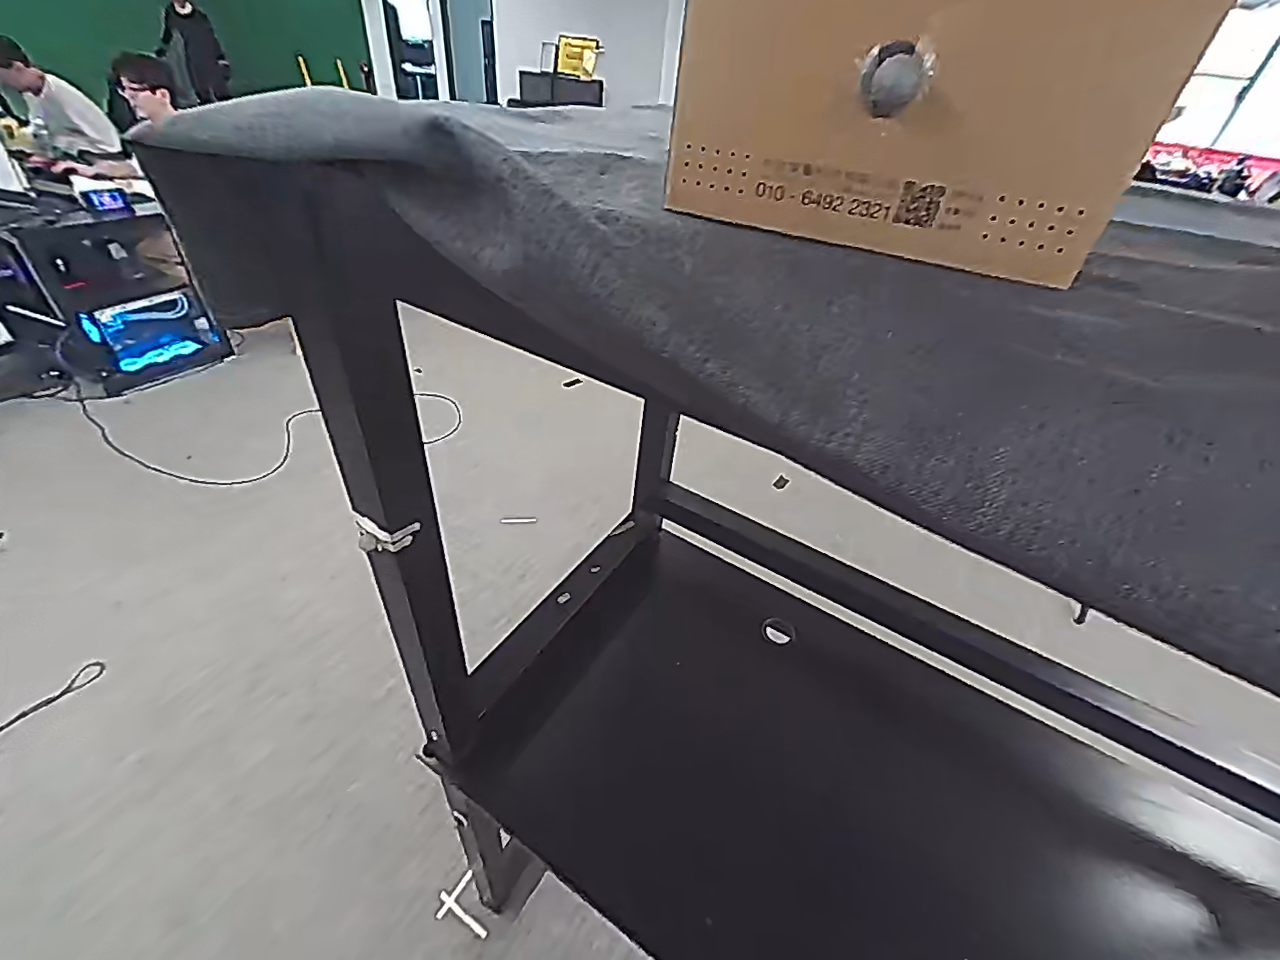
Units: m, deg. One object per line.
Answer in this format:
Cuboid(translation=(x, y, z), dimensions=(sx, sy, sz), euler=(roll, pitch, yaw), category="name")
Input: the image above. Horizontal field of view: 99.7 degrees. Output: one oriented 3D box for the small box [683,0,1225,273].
Cuboid(translation=(0.127, -0.209, 0.237), dimensions=(0.168, 0.176, 0.179), euler=(19, 39, 15), category="small box")
